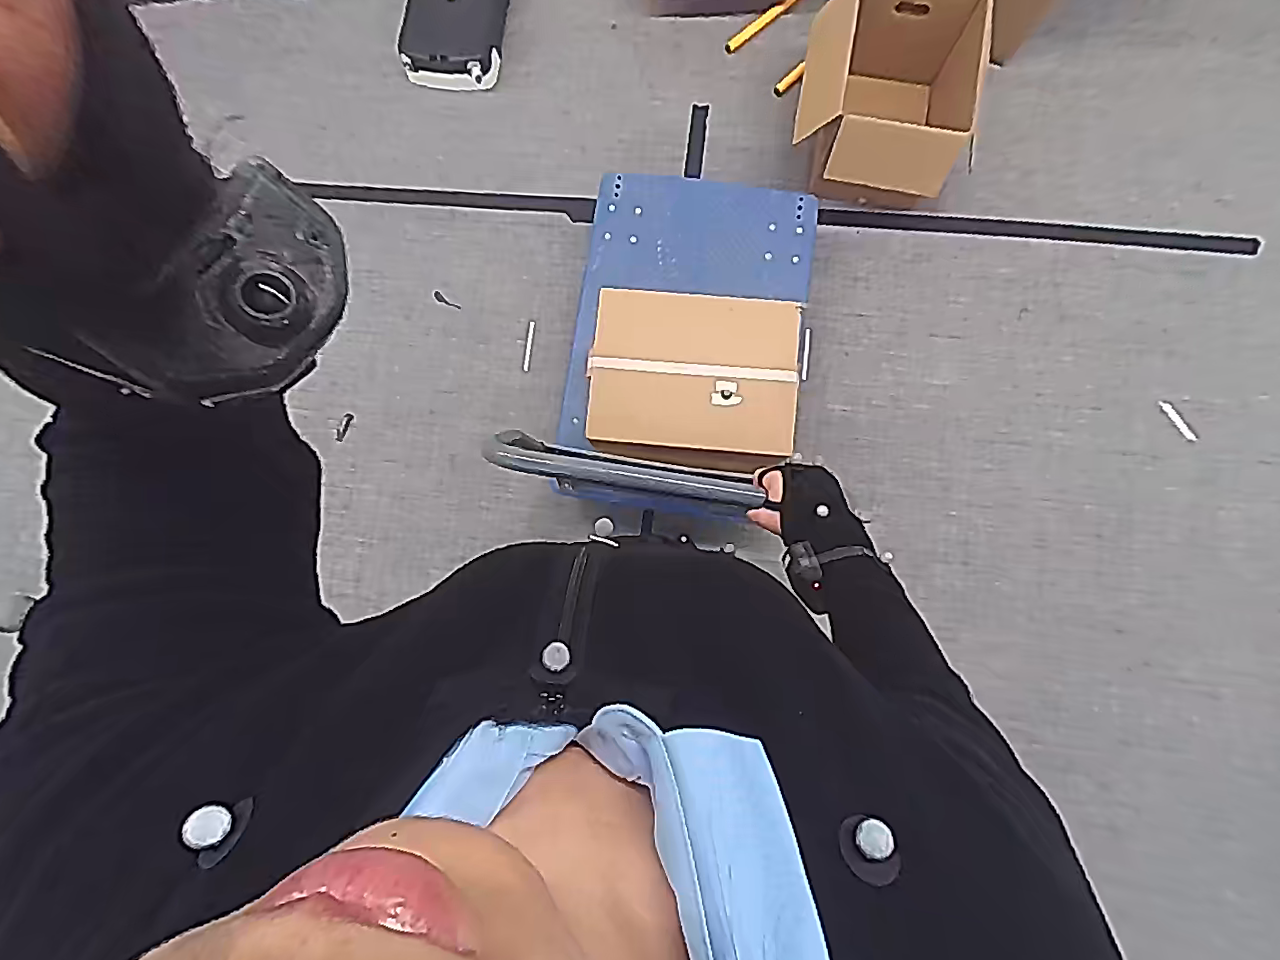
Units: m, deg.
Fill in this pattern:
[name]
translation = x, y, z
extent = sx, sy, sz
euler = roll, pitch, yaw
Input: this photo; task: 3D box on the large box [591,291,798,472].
[large box]
translation = 0.111, -0.202, 1.223
extent = 0.408, 0.320, 0.320
euler = 5, 84, 2
